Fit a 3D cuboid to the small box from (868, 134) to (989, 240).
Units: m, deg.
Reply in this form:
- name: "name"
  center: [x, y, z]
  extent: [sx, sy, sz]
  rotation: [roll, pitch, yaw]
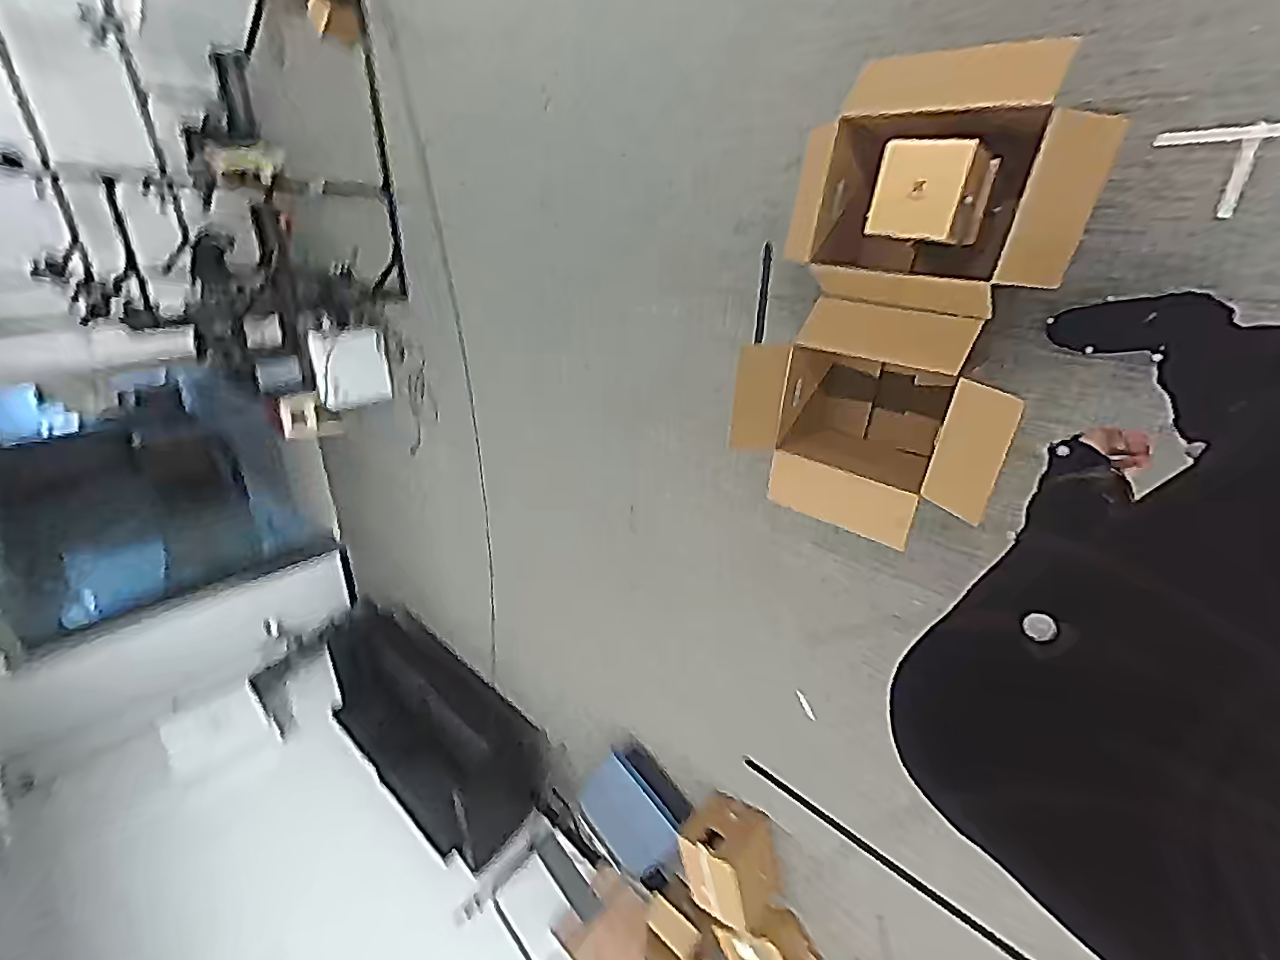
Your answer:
- name: "small box"
  center: [0.610, -0.611, 1.137]
  extent: [0.168, 0.176, 0.179]
  rotation: [25, 122, 33]
